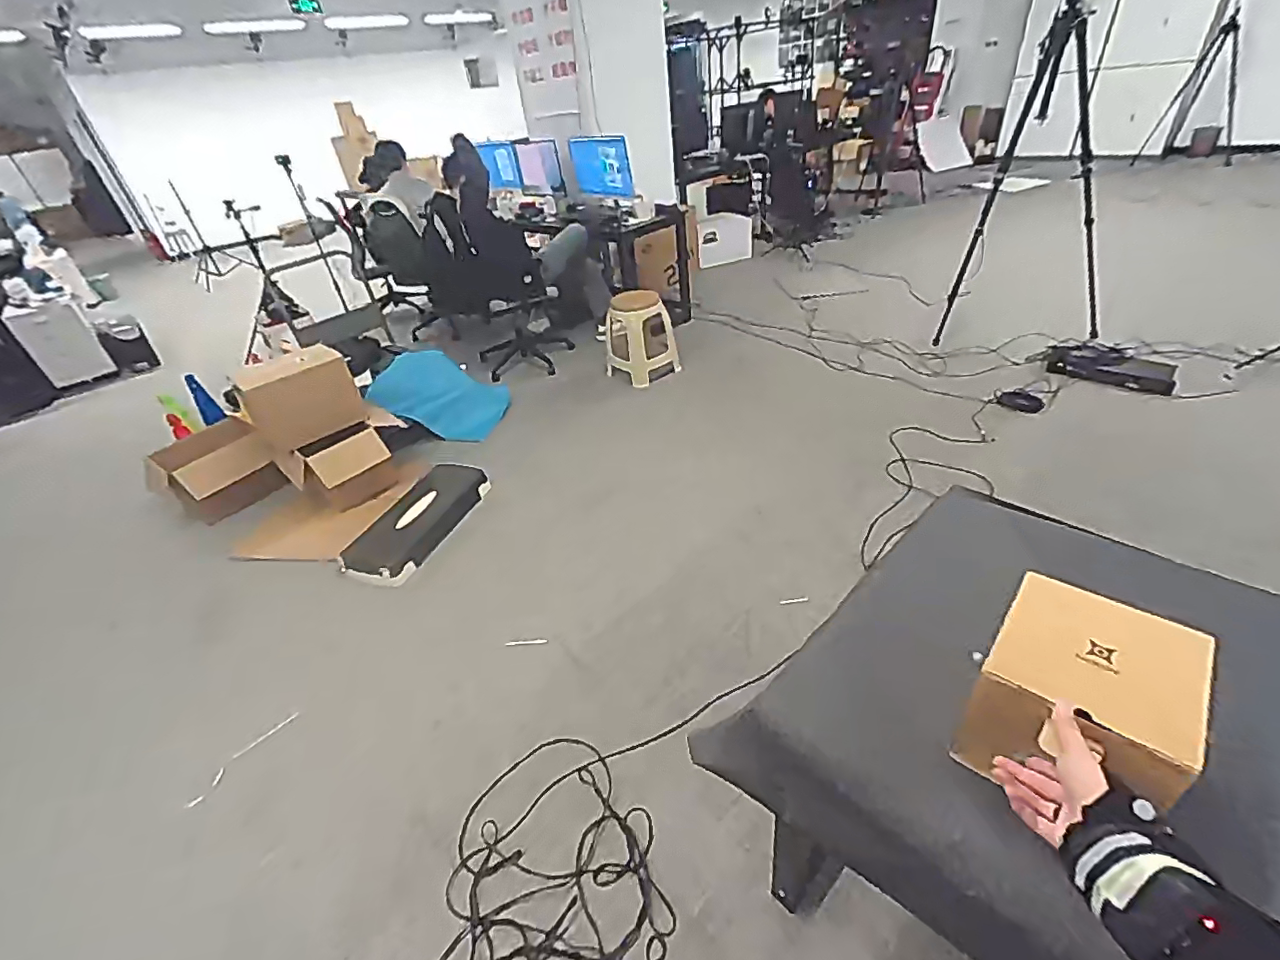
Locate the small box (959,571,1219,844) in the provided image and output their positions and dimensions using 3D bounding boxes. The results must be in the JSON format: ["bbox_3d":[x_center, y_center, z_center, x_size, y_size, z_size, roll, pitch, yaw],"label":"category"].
[{"bbox_3d":[0.477,0.240,0.592,0.168,0.176,0.179,23,46,36],"label":"small box"}]
